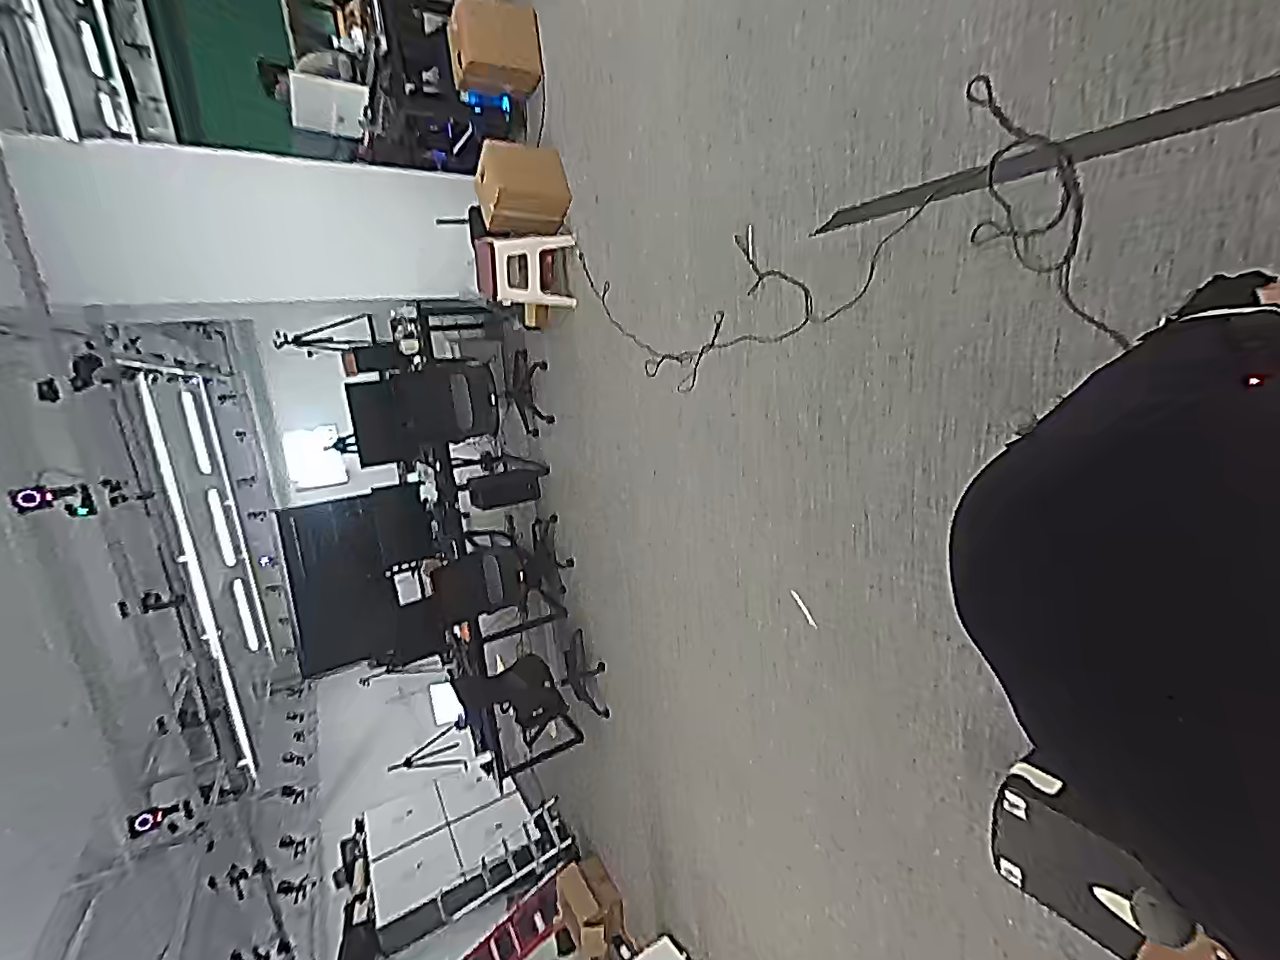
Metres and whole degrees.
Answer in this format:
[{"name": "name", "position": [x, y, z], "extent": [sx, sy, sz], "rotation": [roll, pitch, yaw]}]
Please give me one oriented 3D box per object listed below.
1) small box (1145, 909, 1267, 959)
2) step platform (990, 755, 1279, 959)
[{"name": "small box", "position": [1.012, 0.925, 0.950], "extent": [0.168, 0.176, 0.179], "rotation": [17, 116, 56]}, {"name": "step platform", "position": [1.117, 0.897, 1.109], "extent": [0.684, 0.204, 0.286], "rotation": [14, 114, 57]}]
